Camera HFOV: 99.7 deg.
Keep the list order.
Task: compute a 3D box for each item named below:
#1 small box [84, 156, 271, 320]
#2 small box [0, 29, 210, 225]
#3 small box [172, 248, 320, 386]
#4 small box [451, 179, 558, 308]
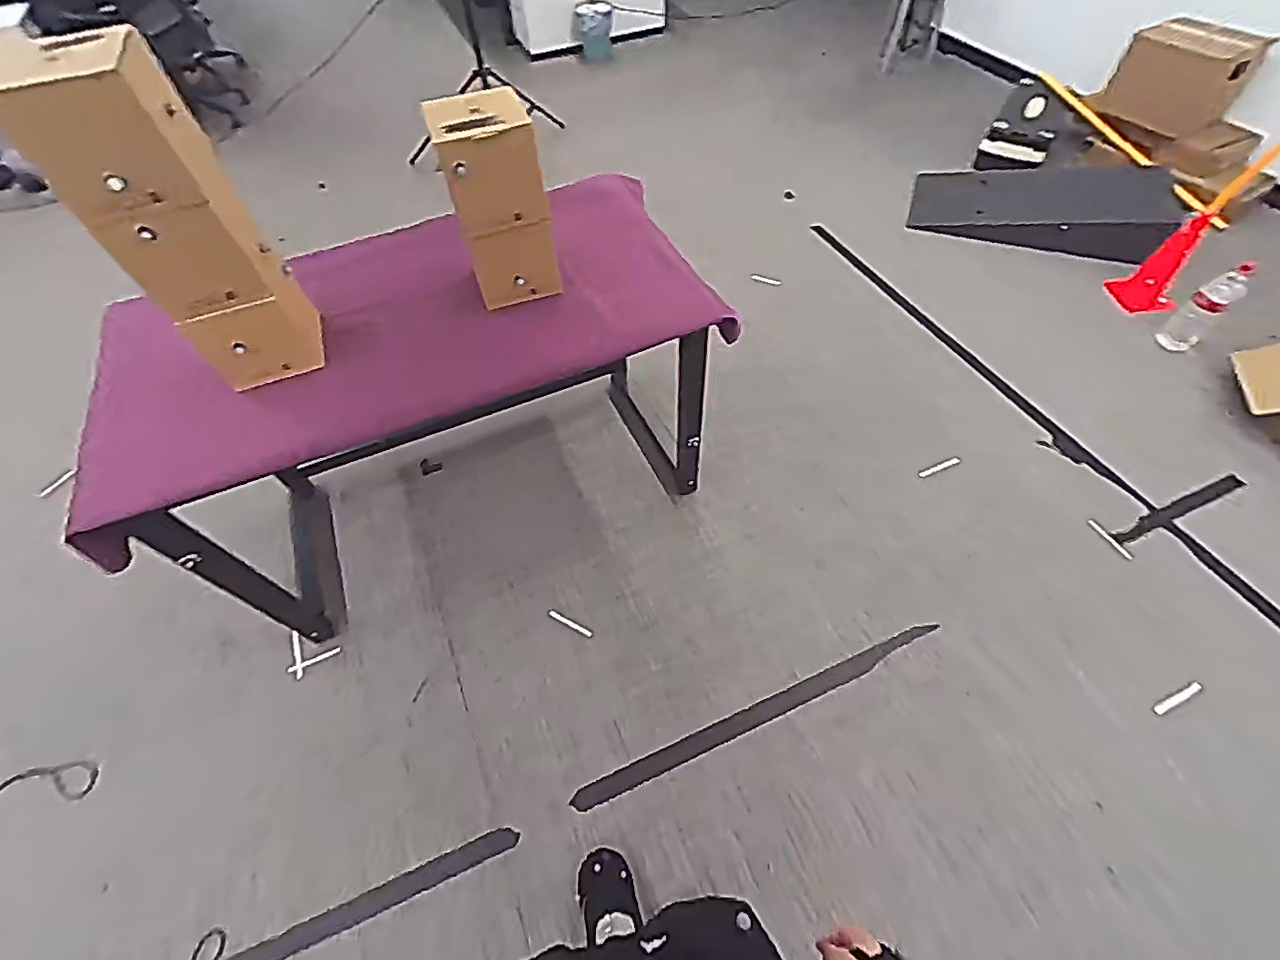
[{"bbox_3d":[-0.742,-0.397,0.892,0.168,0.176,0.179,-21,57,-11],"label":"small box"},{"bbox_3d":[-0.744,-0.490,0.756,0.168,0.176,0.179,-21,58,-11],"label":"small box"},{"bbox_3d":[-0.733,-0.301,1.025,0.168,0.176,0.179,-21,57,-11],"label":"small box"},{"bbox_3d":[-0.281,-0.493,1.133,0.168,0.176,0.179,-17,57,-8],"label":"small box"}]
